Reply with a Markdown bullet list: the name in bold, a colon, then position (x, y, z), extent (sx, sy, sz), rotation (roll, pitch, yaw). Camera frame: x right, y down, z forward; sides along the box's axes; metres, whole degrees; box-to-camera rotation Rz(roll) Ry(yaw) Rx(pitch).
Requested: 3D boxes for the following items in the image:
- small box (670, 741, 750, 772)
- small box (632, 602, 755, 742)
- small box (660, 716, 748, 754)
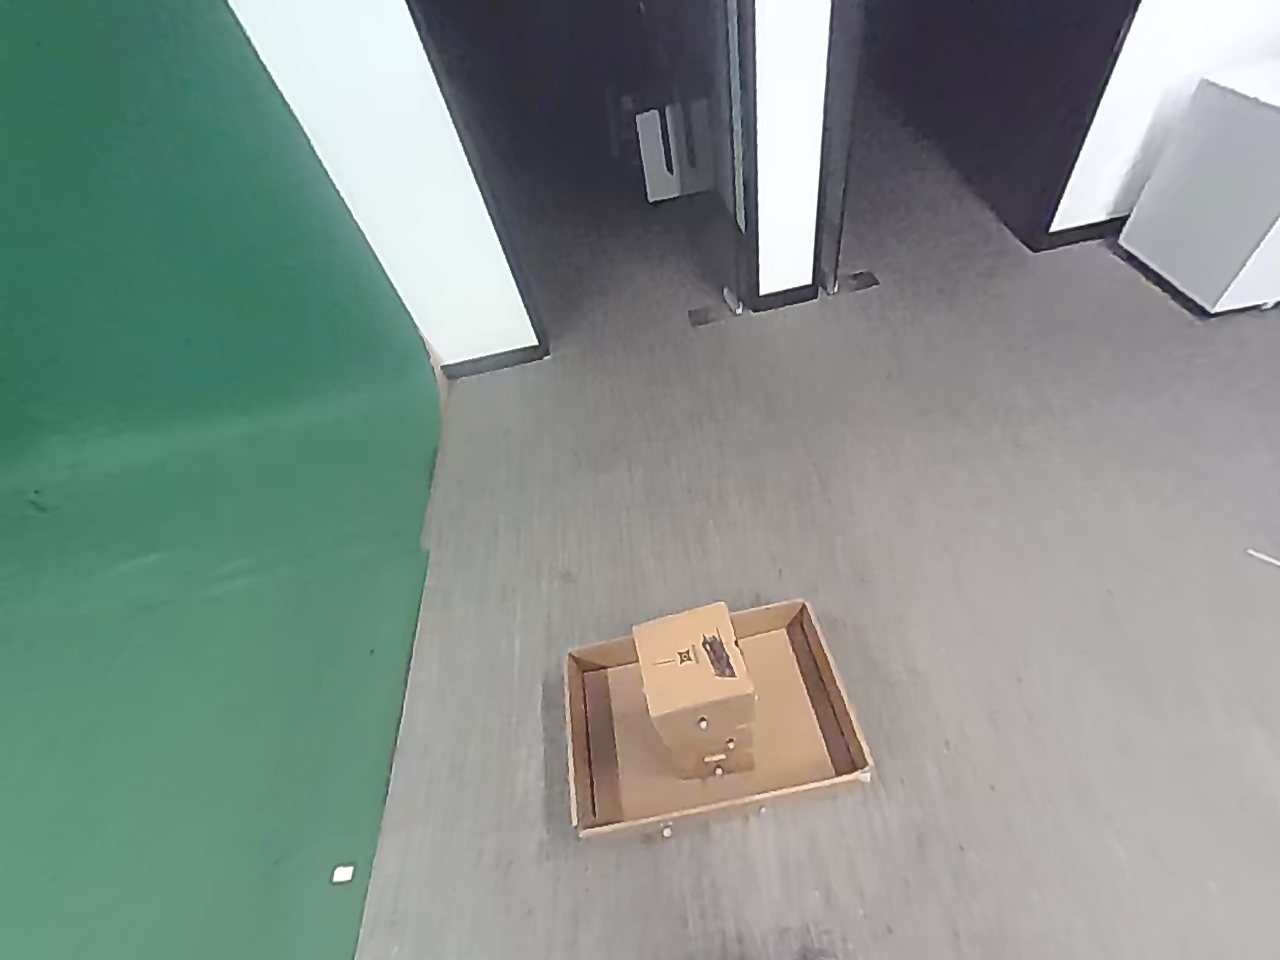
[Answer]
- **small box**: position (0.152, 0.552, 1.233), extent (0.168, 0.176, 0.179), rotation (-11, 50, 5)
- **small box**: position (0.096, 0.351, 0.982), extent (0.179, 0.176, 0.168), rotation (-16, 50, -2)
- **small box**: position (0.123, 0.448, 1.112), extent (0.168, 0.176, 0.179), rotation (-11, 48, 3)
